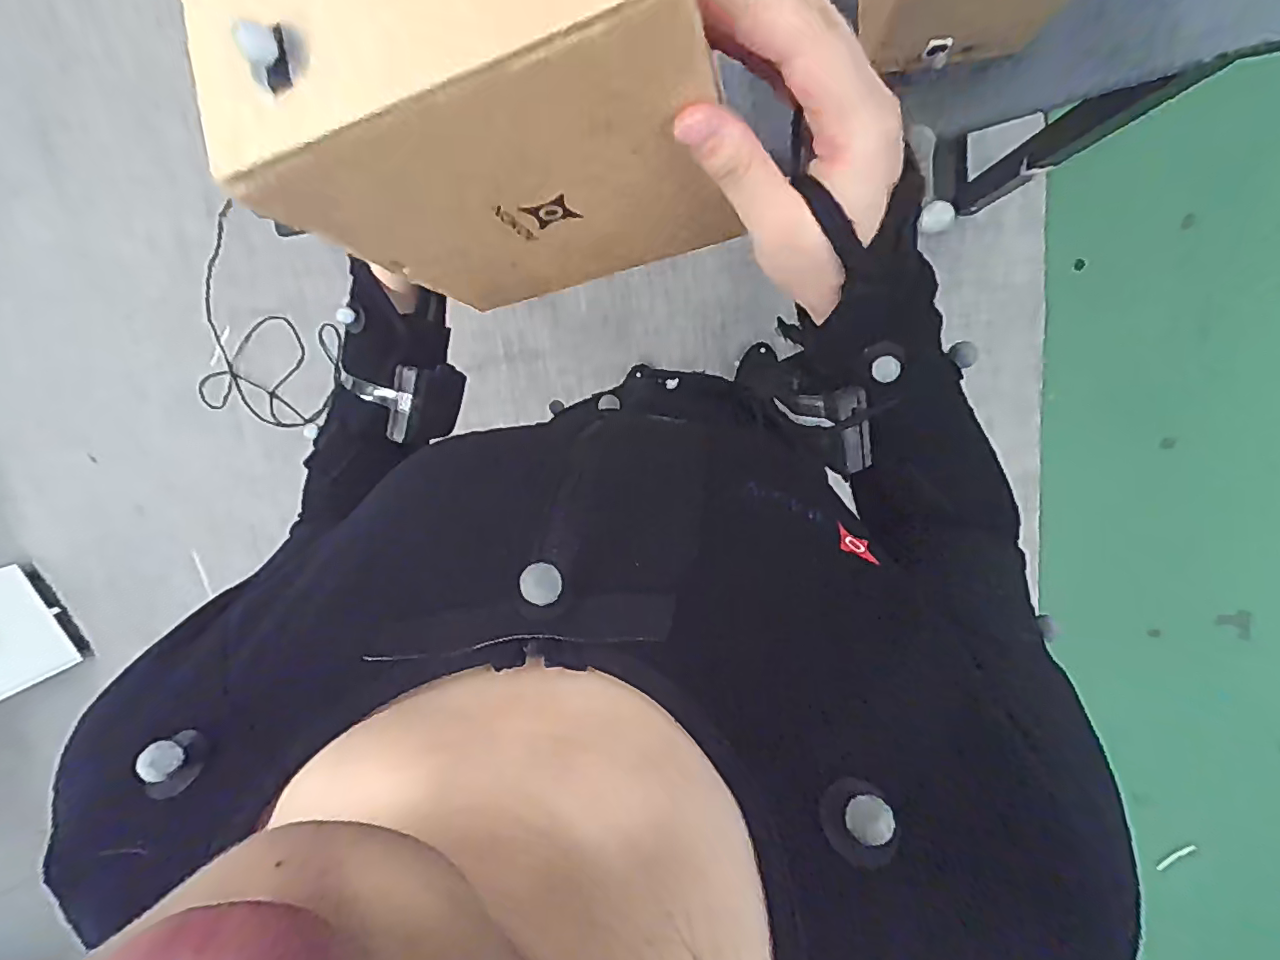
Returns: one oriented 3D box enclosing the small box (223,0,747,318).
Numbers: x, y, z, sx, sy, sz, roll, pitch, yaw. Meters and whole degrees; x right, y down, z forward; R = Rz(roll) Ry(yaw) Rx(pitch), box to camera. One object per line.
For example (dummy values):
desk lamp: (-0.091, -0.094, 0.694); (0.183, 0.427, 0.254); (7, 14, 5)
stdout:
small box: (-0.059, -0.196, 0.249); (0.179, 0.168, 0.176); (-10, 90, 18)

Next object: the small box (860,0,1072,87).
small box: (0.308, -0.515, 0.504); (0.168, 0.176, 0.179); (-3, 101, 10)
